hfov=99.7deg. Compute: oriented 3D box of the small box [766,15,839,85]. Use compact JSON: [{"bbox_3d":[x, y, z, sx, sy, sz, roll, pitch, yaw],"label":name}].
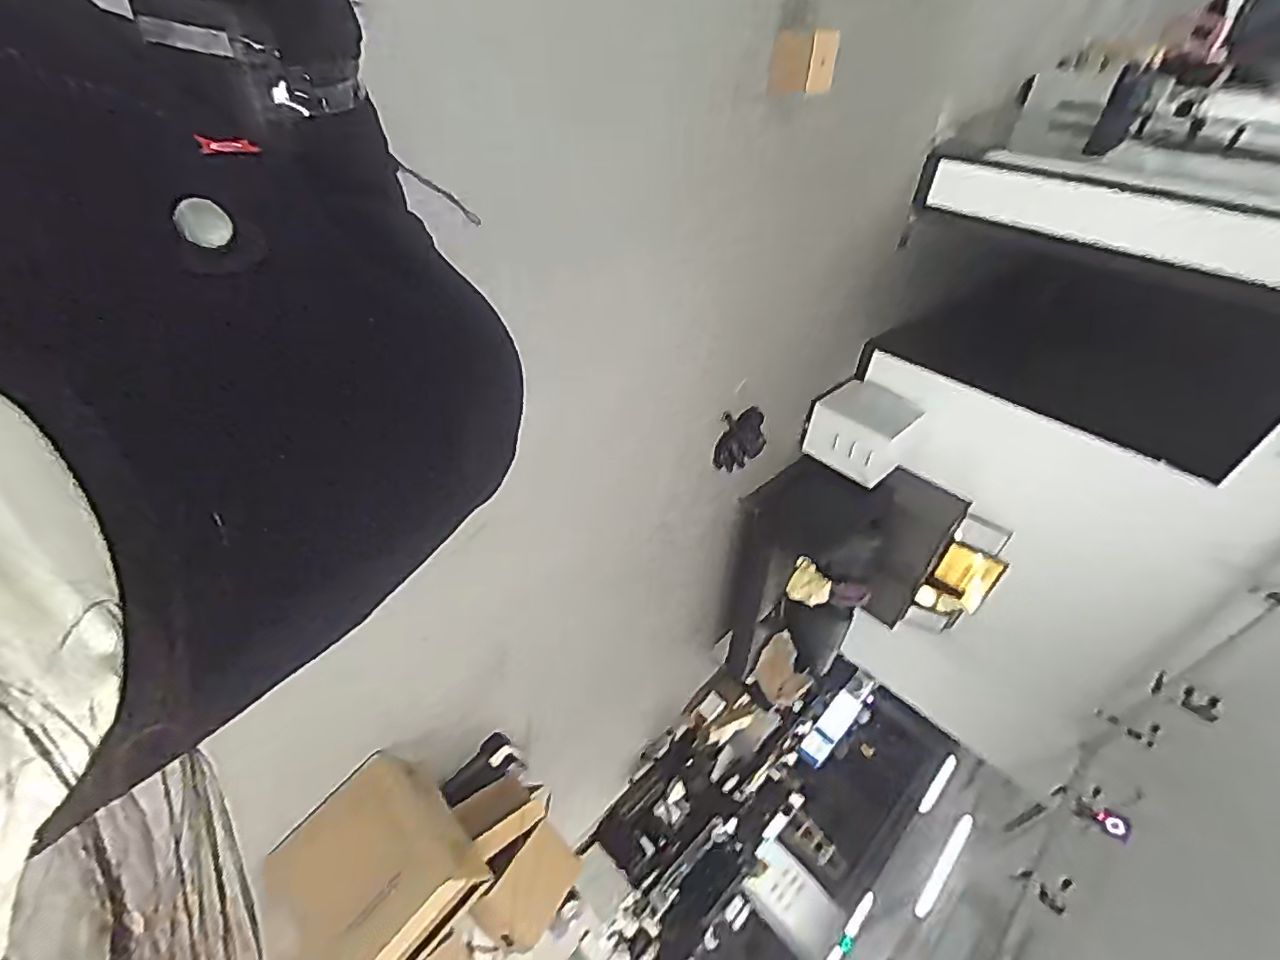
[{"bbox_3d":[0.563,-1.506,1.891,0.168,0.176,0.179,-35,142,-30],"label":"small box"}]
